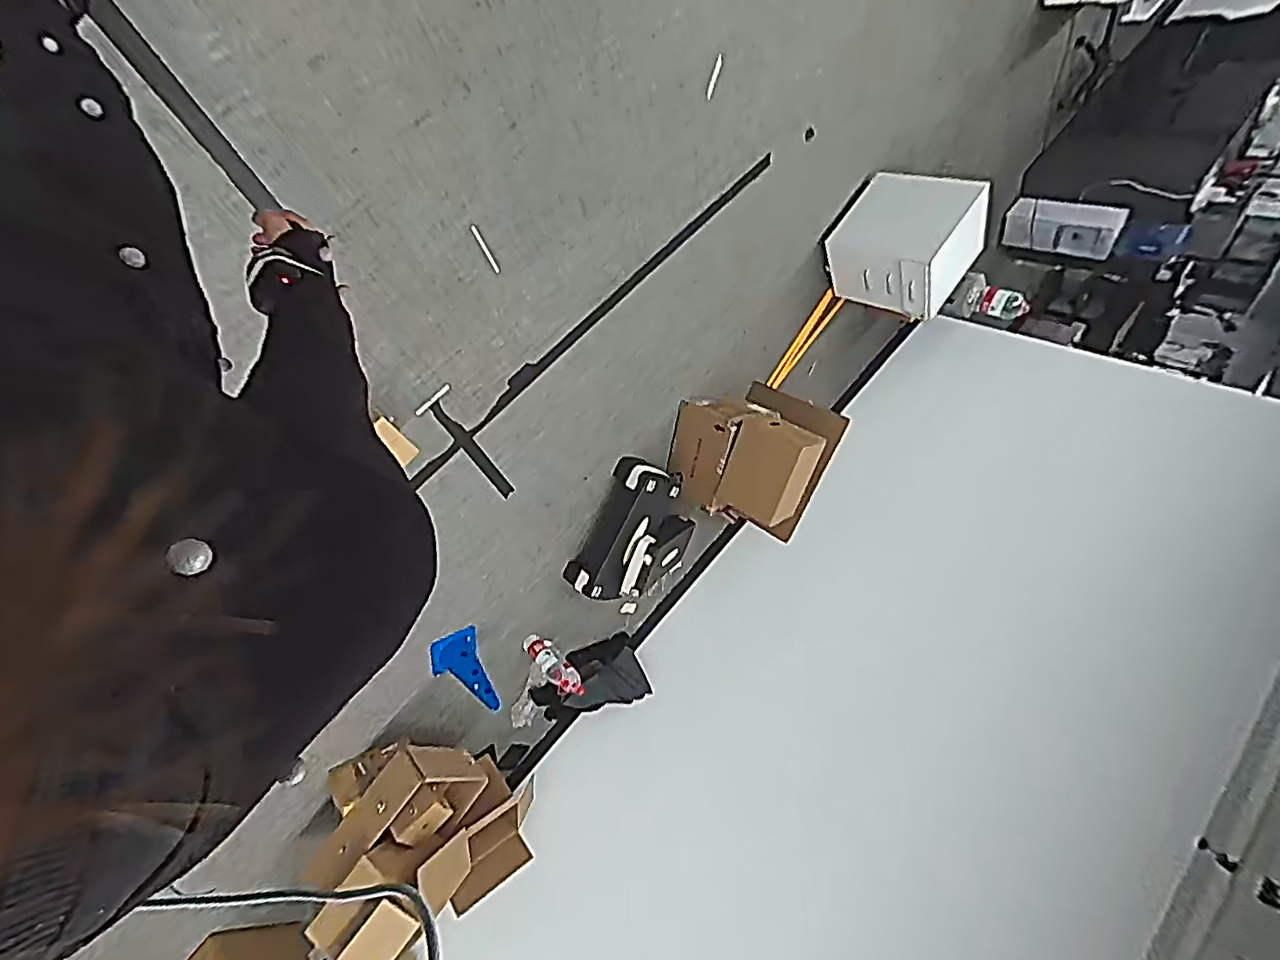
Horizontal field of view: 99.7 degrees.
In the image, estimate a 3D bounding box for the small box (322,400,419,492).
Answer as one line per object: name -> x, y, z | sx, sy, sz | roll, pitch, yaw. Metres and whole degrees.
small box -> -0.790, -0.102, 1.574 | 0.179, 0.176, 0.168 | -47, 142, -13
